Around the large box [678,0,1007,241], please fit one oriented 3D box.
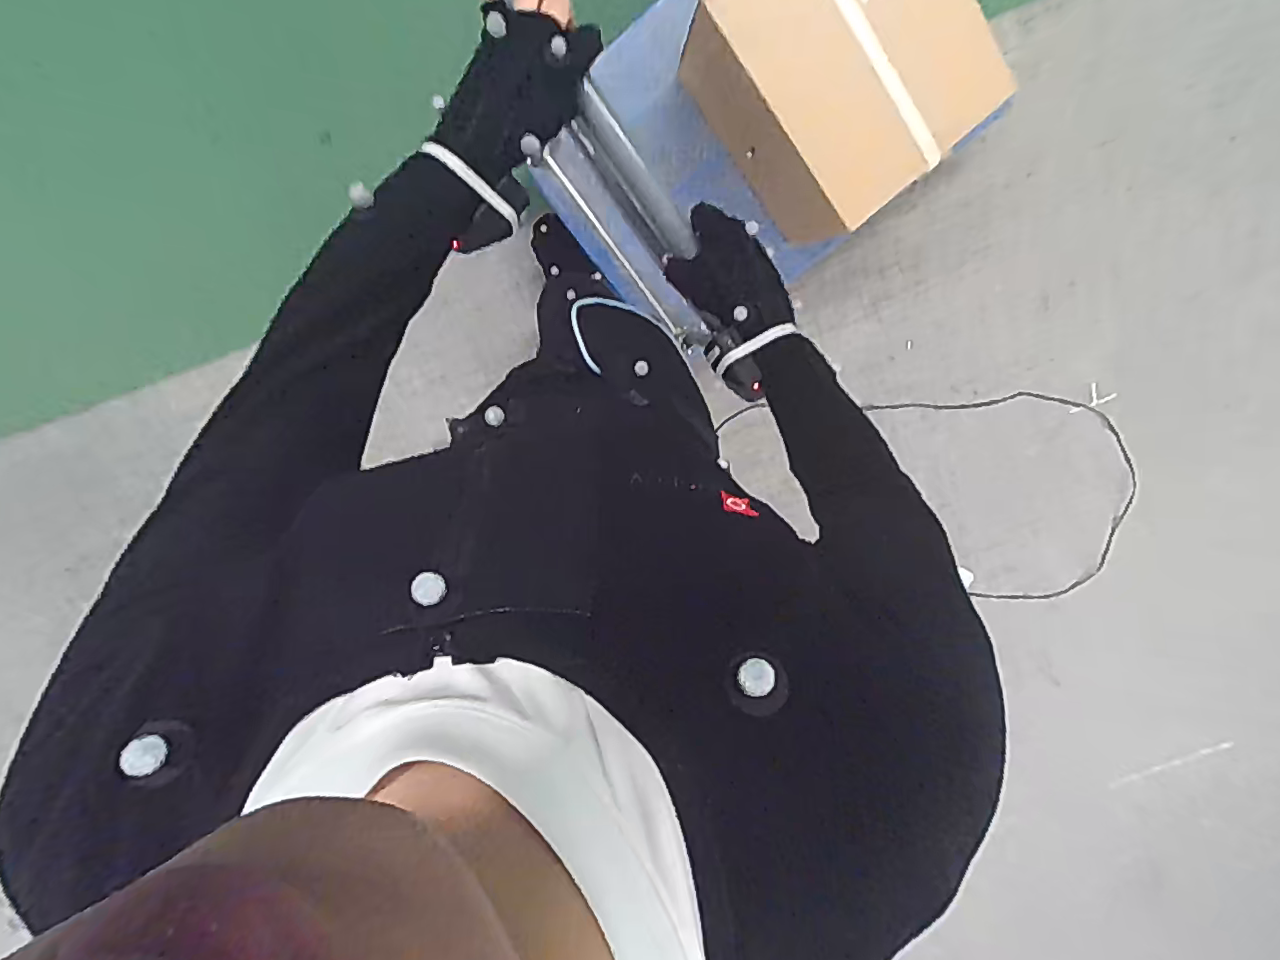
[{"bbox_3d":[0.318,-0.694,0.945,0.320,0.320,0.408,-40,106,10],"label":"large box"}]
